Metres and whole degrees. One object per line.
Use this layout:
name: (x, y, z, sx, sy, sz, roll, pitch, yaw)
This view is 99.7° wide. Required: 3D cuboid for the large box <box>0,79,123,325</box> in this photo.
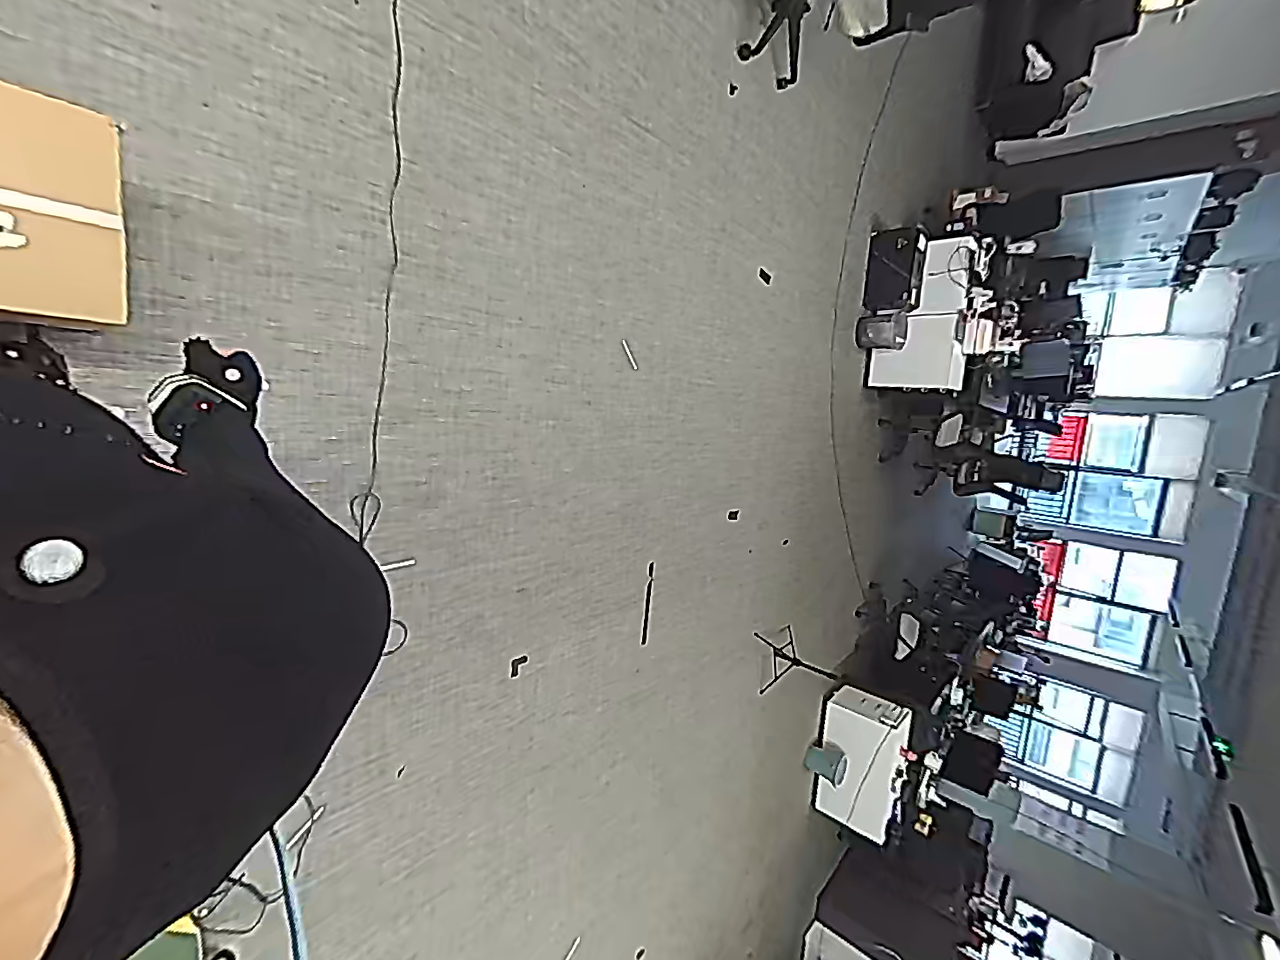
large box: (-1.073, -0.421, 0.801, 0.408, 0.320, 0.320, -5, 102, -50)
